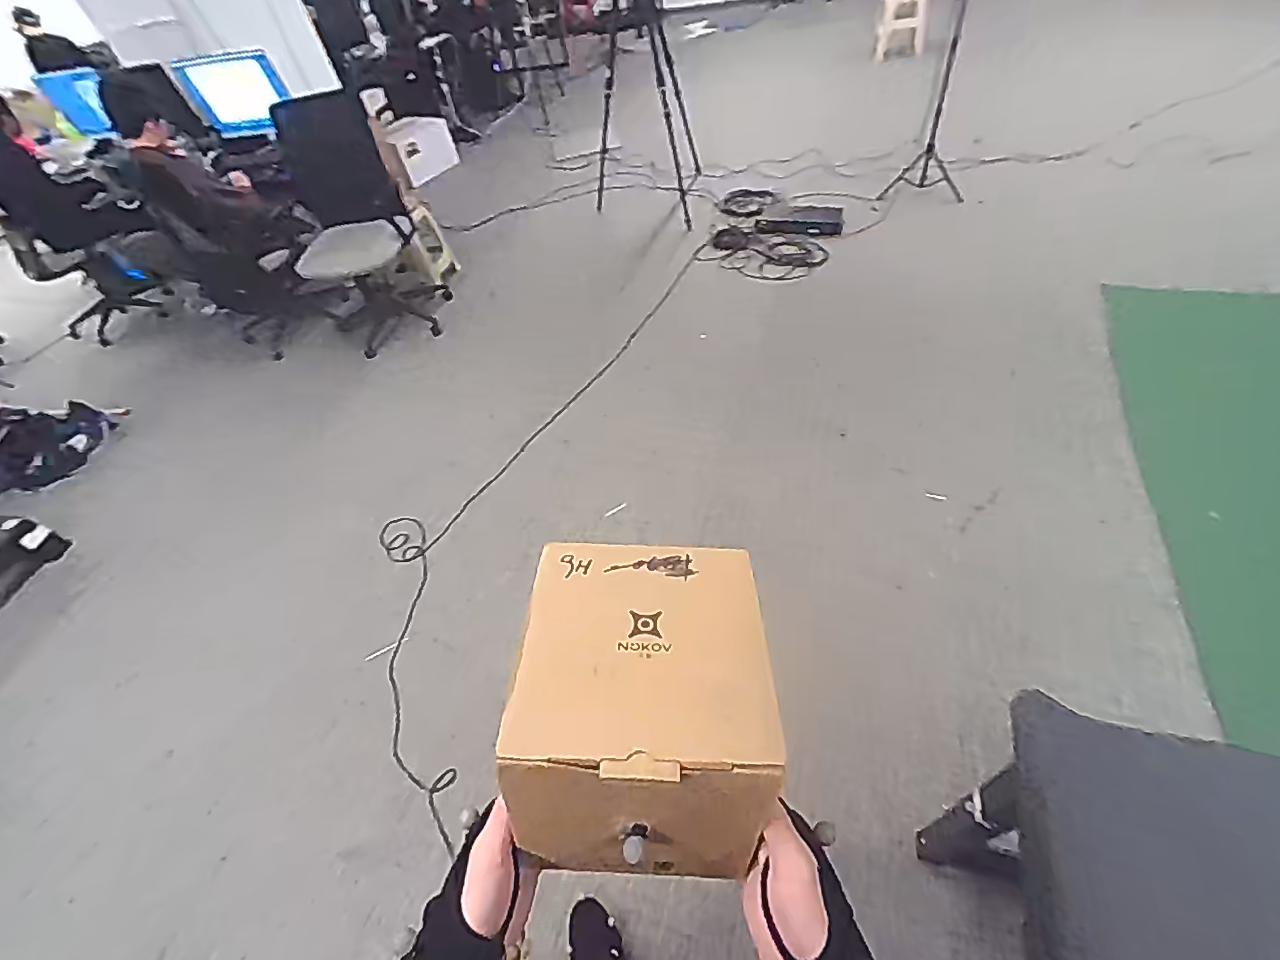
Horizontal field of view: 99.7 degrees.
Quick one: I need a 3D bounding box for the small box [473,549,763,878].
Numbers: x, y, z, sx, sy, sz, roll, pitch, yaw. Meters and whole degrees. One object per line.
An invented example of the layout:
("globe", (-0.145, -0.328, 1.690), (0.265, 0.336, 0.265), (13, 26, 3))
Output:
("small box", (-0.008, 0.174, 0.409), (0.168, 0.176, 0.179), (2, 38, 1))
